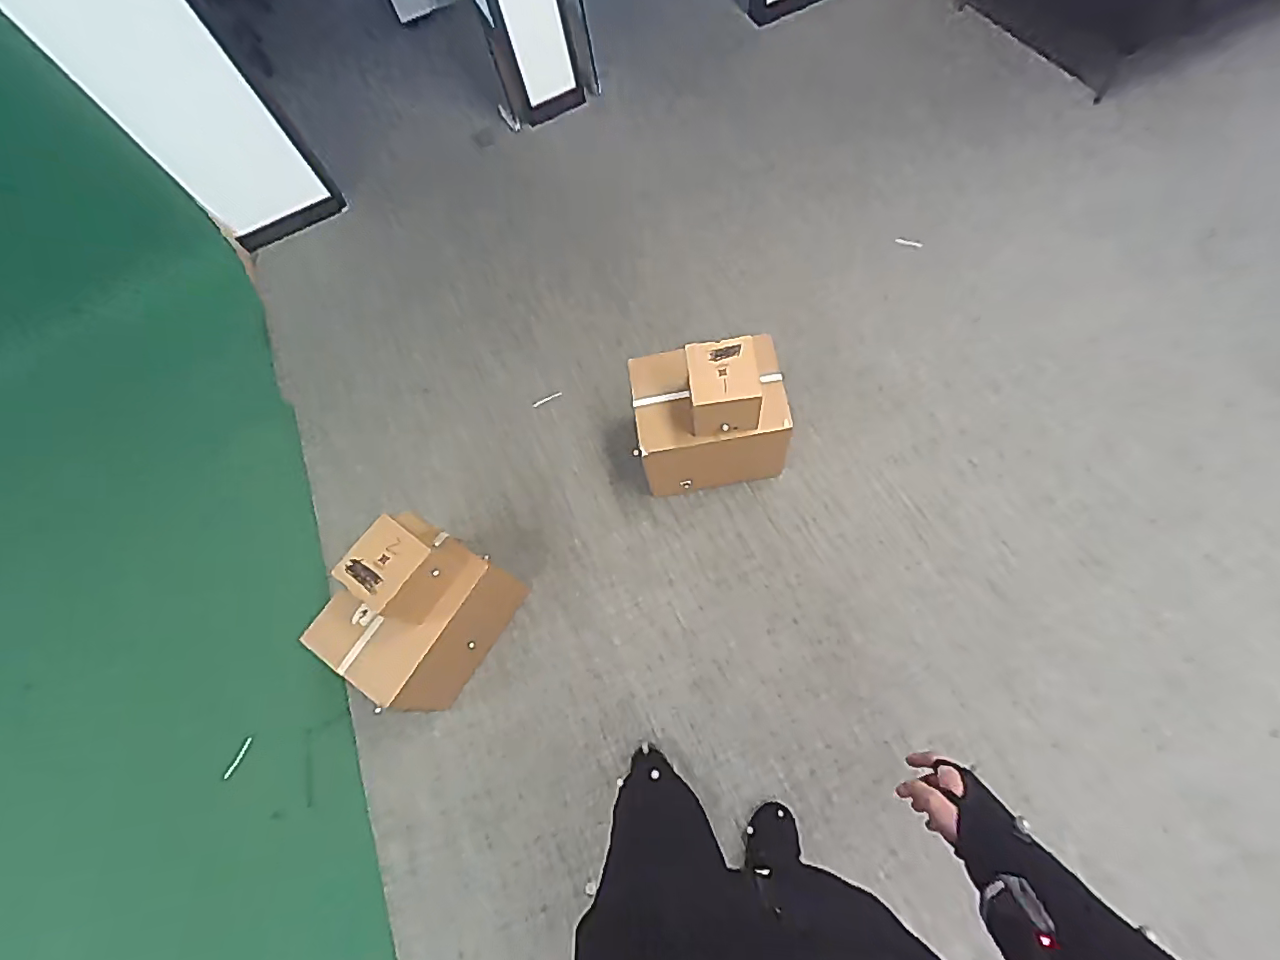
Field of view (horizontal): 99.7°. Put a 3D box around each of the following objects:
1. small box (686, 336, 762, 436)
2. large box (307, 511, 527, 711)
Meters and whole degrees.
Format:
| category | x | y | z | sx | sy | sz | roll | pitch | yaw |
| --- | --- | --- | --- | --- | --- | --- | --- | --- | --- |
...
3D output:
| category | x | y | z | sx | sy | sz | roll | pitch | yaw |
| --- | --- | --- | --- | --- | --- | --- | --- | --- | --- |
| small box | 0.205 | -0.230 | 1.352 | 0.168 | 0.176 | 0.179 | -7 | 68 | 5 |
| large box | -0.581 | 0.363 | 1.483 | 0.320 | 0.320 | 0.408 | 27 | 74 | 20 |
